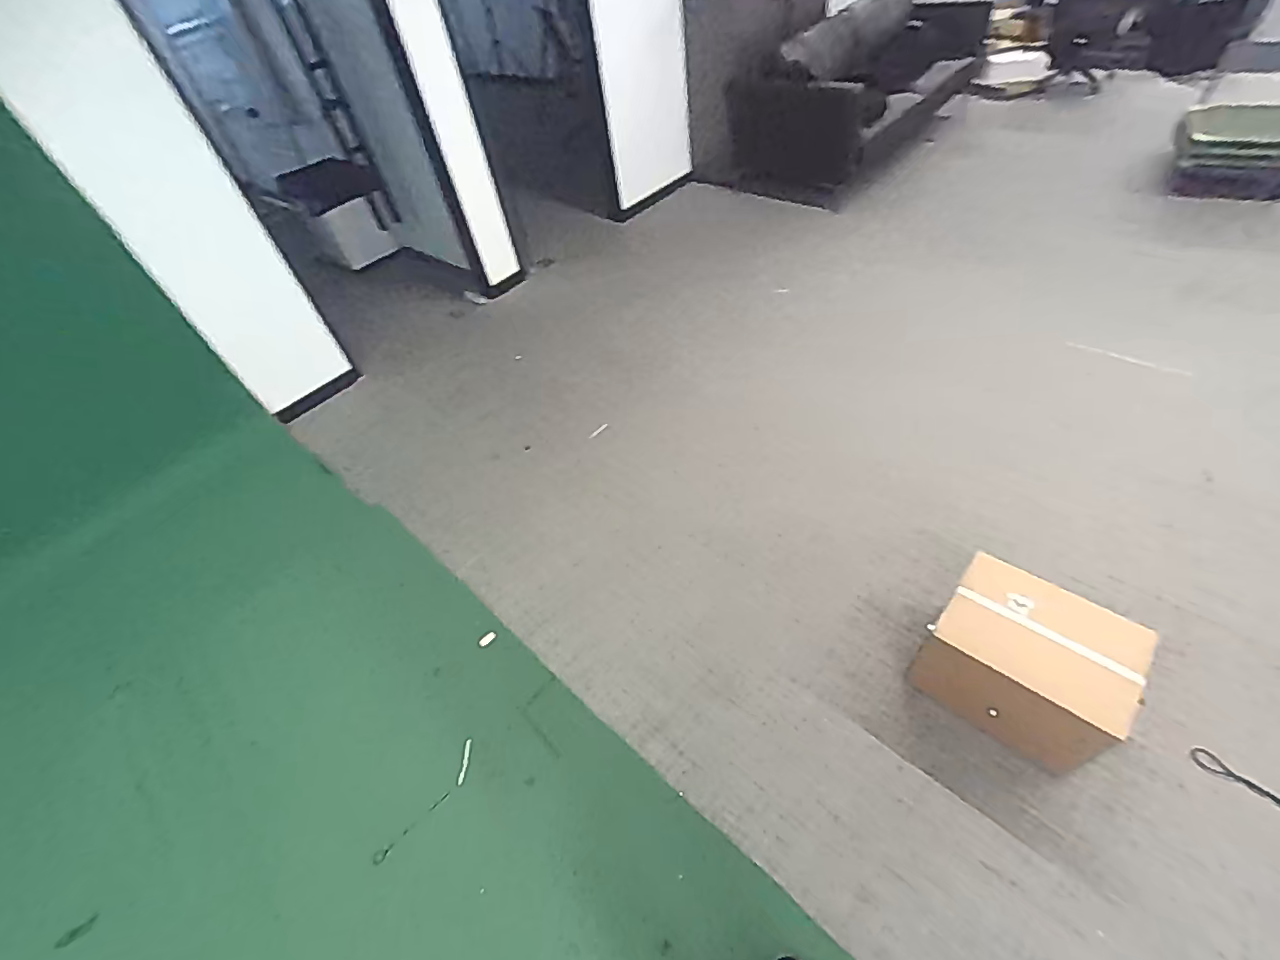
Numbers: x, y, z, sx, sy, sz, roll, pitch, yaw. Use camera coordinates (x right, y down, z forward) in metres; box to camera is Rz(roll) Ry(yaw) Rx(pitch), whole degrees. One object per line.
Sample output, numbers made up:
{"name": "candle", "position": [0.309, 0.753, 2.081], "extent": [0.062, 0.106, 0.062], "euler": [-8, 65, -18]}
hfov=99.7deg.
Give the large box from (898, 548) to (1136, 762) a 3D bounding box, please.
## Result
{"name": "large box", "position": [0.974, 0.459, 1.440], "extent": [0.408, 0.320, 0.320], "euler": [28, 58, 32]}
